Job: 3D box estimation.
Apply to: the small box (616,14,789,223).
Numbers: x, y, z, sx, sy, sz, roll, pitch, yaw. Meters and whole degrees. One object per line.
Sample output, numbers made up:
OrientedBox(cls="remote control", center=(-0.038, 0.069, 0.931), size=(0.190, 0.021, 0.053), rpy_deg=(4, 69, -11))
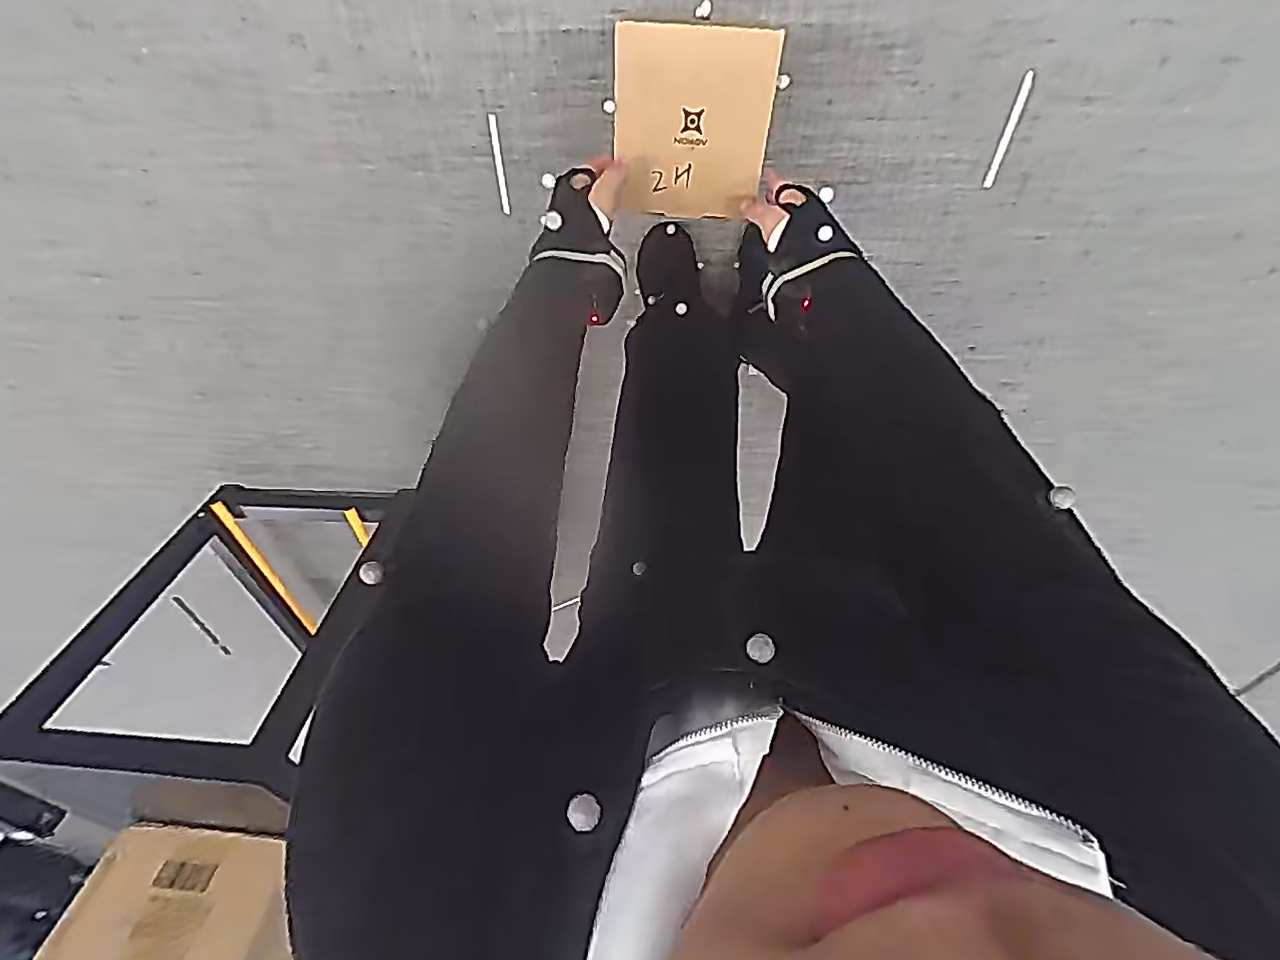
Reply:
OrientedBox(cls="small box", center=(0.062, -0.424, 0.631), size=(0.168, 0.176, 0.179), rpy_deg=(5, 133, 1))
